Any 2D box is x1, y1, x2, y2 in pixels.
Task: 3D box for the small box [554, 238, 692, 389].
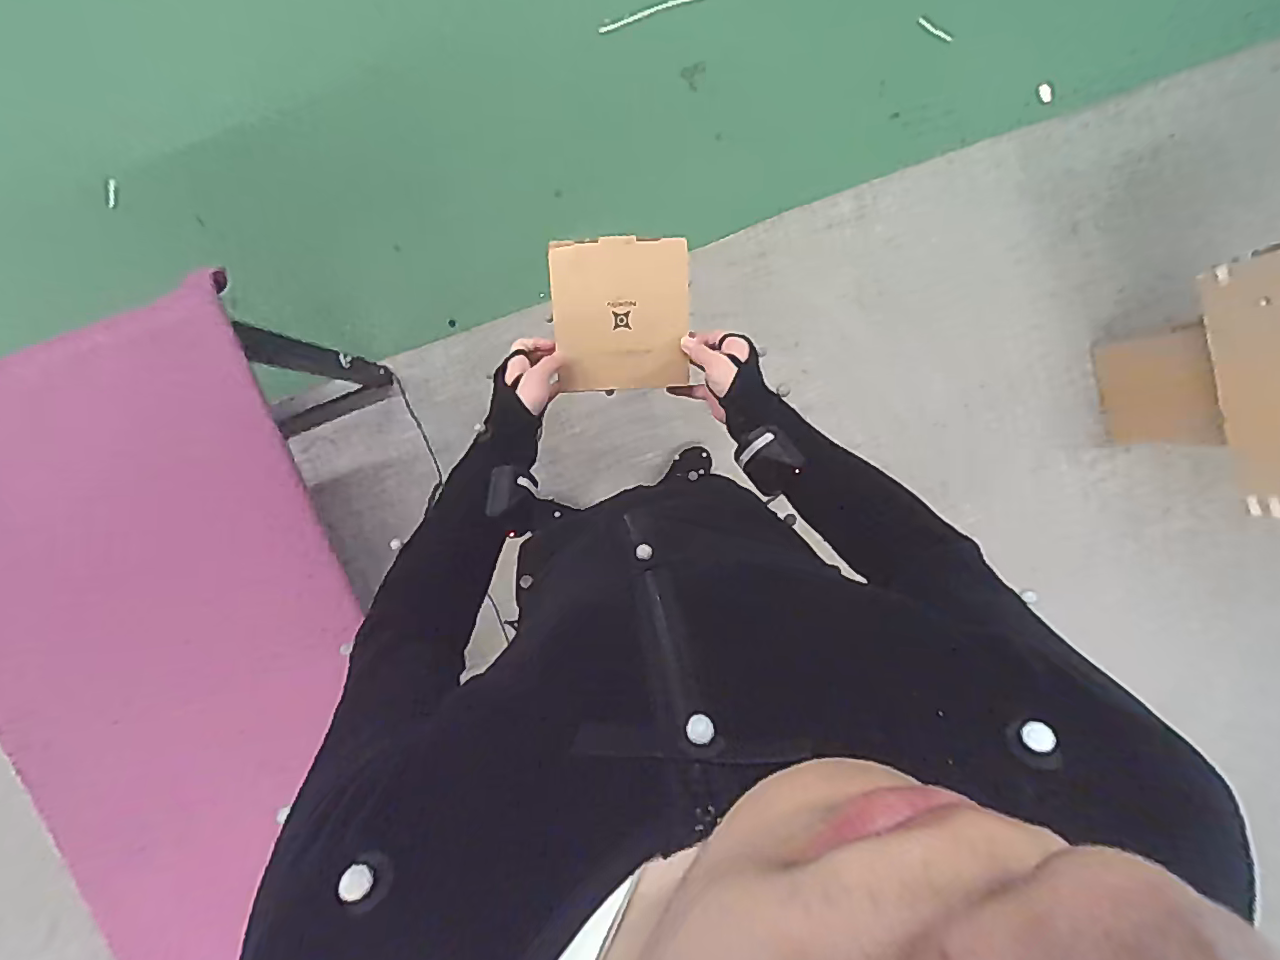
[{"bbox_3d":[-0.025,-0.216,0.730,0.168,0.176,0.179,-2,104,-3],"label":"small box"}]
